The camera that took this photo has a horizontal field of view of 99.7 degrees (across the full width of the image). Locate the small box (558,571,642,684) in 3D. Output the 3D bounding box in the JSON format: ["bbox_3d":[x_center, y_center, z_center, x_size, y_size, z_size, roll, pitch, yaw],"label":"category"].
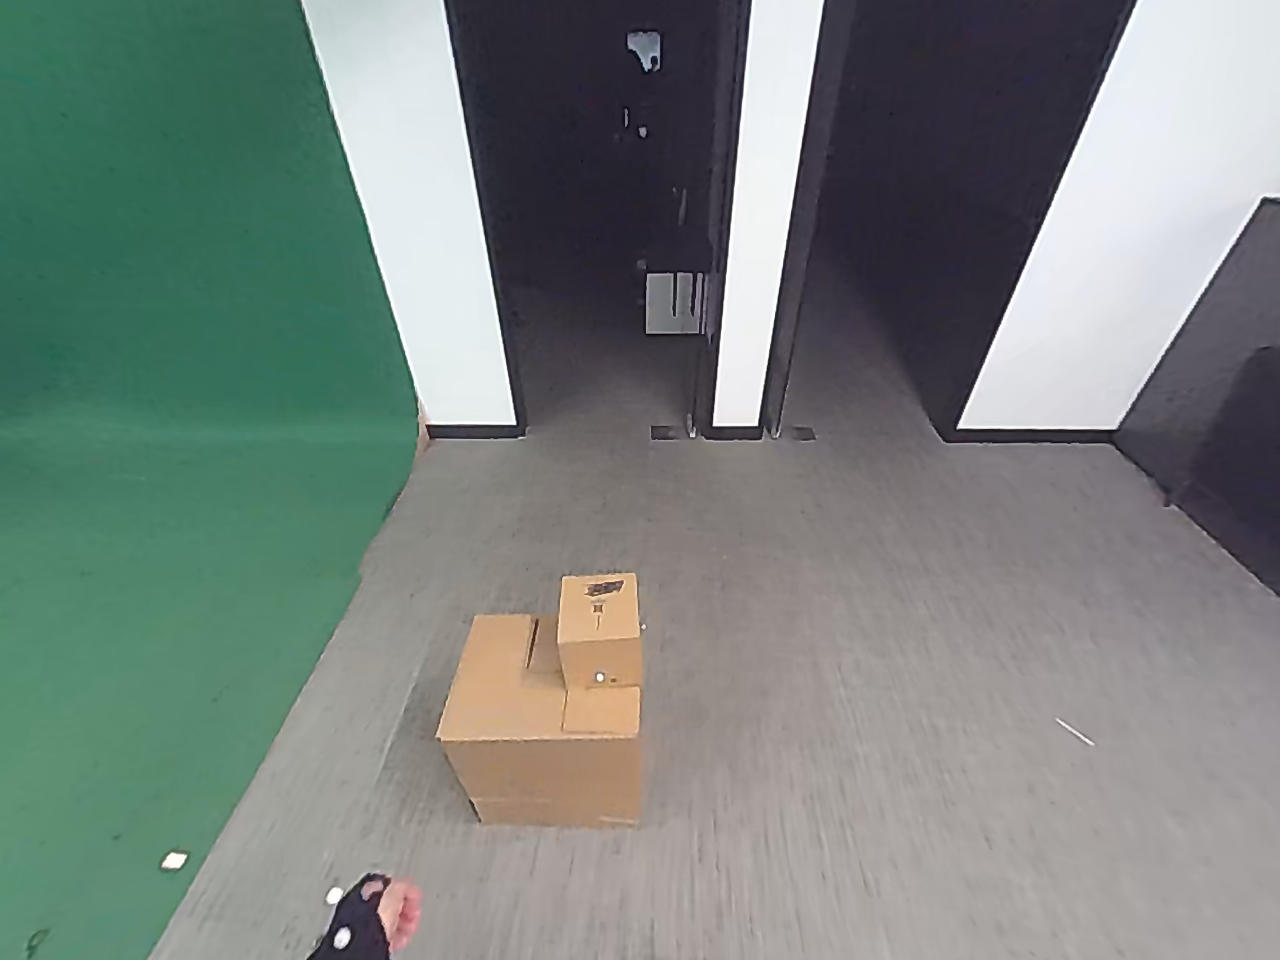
[{"bbox_3d":[-0.083,0.322,1.186,0.168,0.176,0.179,-3,39,0],"label":"small box"}]
